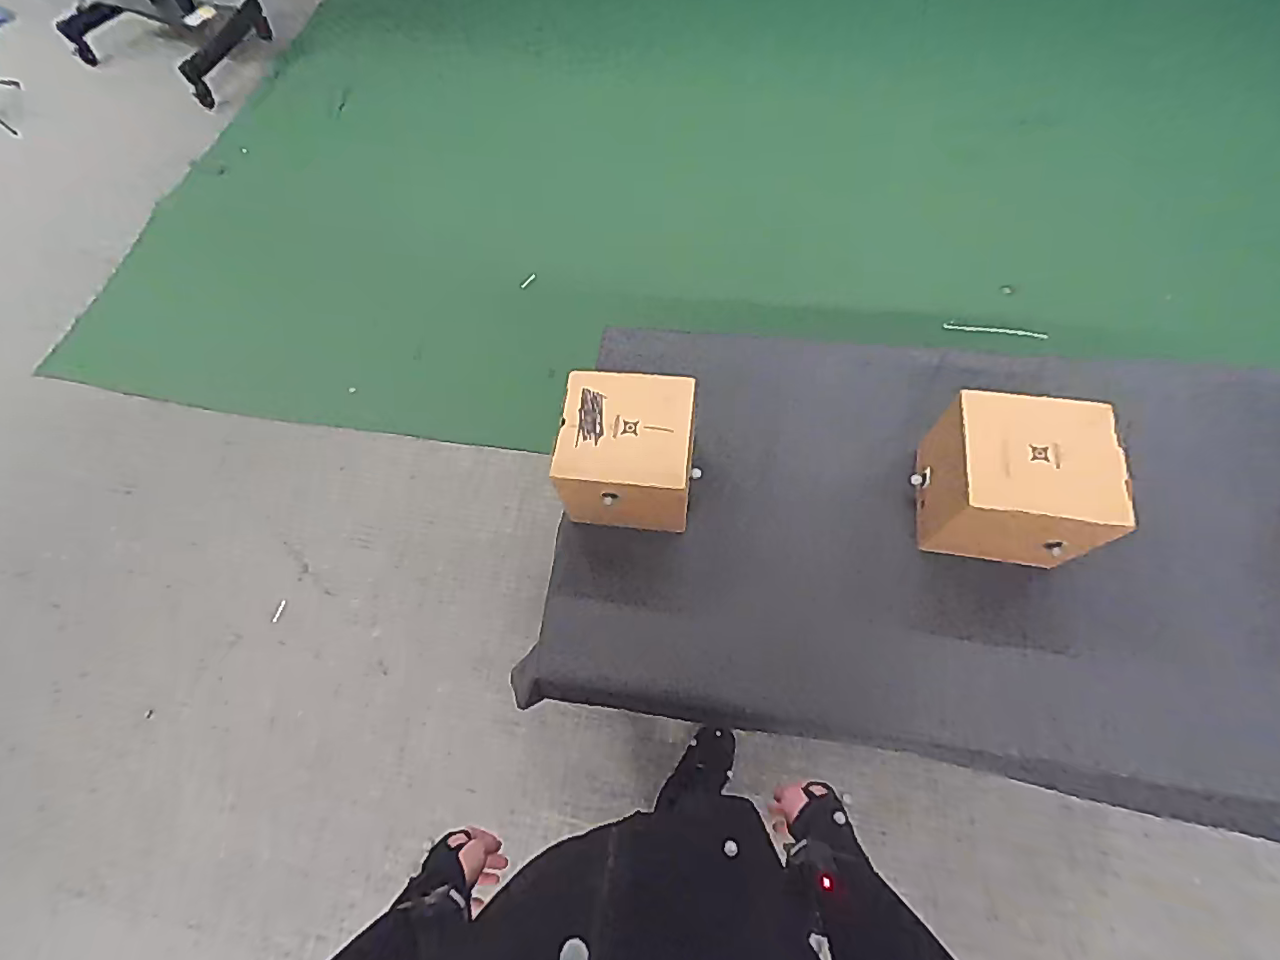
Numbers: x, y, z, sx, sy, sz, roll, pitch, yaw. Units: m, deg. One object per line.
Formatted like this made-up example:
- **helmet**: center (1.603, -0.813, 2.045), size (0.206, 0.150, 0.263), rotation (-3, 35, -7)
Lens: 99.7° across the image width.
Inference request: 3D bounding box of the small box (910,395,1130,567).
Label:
- **small box**: center (0.489, 0.009, 0.728), size (0.179, 0.176, 0.168), rotation (7, 64, 7)

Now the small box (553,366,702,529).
- **small box**: center (-0.011, -0.039, 0.765), size (0.179, 0.176, 0.168), rotation (6, 65, 4)
